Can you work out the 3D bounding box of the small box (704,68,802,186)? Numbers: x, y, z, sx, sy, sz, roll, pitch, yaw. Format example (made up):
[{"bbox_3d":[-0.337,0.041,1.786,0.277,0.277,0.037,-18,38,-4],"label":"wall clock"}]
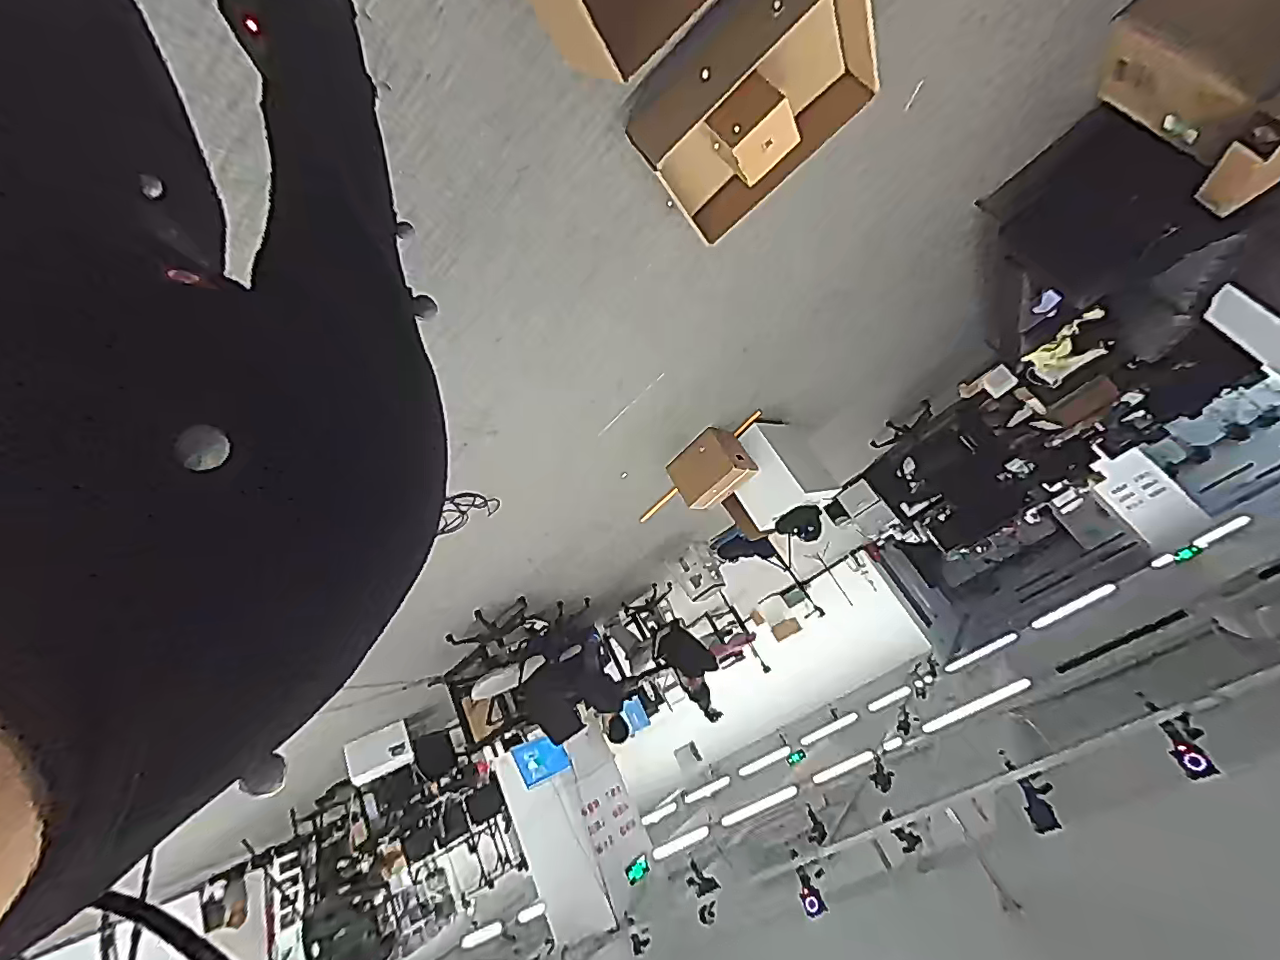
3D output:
[{"bbox_3d":[0.307,-0.961,1.471,0.179,0.176,0.168,-38,156,18],"label":"small box"}]
